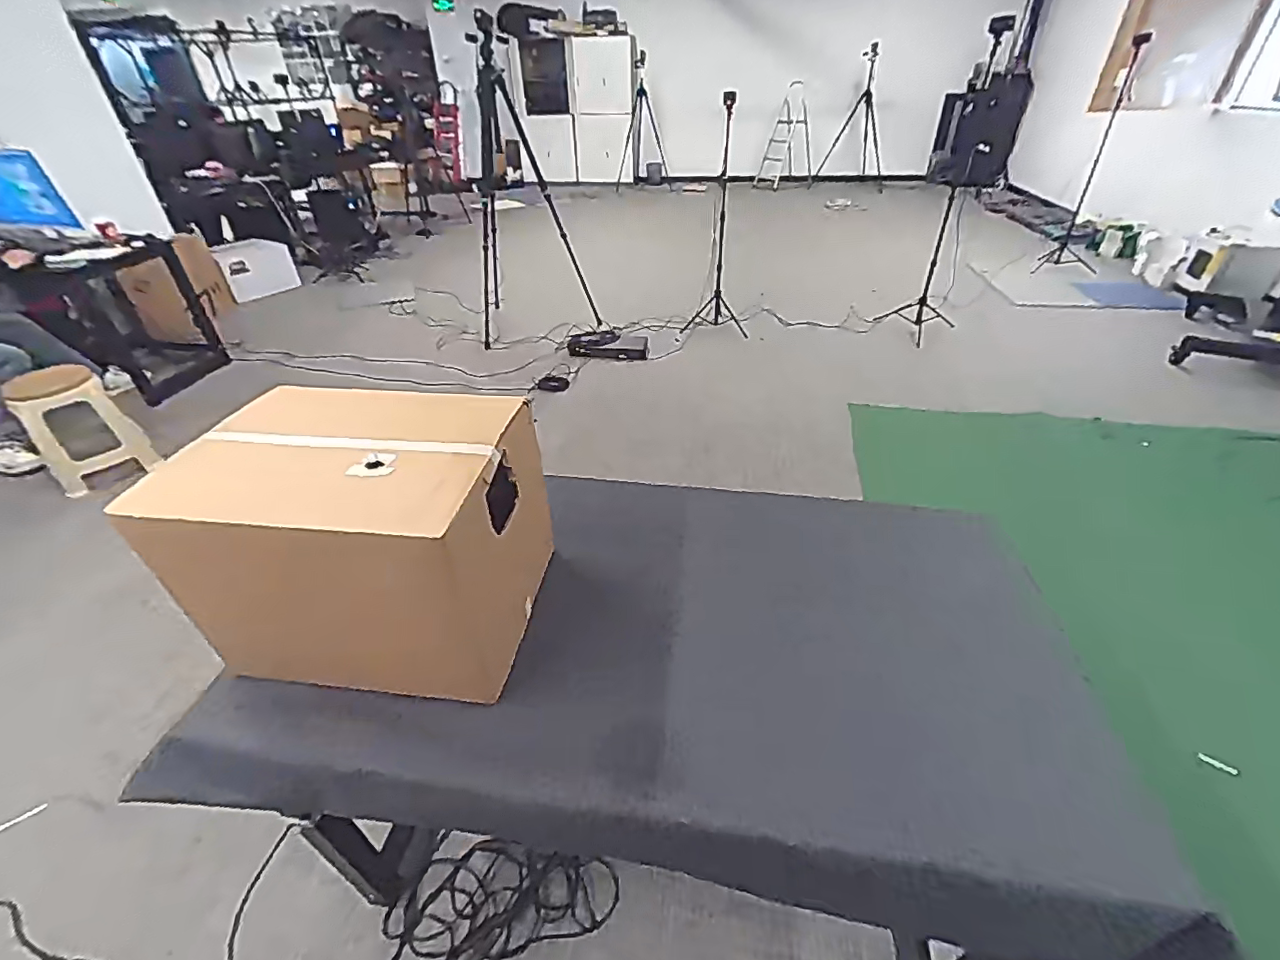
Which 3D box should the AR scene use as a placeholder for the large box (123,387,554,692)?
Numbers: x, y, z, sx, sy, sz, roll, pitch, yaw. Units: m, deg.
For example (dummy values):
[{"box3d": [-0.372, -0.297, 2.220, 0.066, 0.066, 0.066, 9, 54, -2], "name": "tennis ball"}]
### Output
[{"box3d": [-0.367, 0.076, 0.791, 0.408, 0.320, 0.320, 4, 37, 5], "name": "large box"}]
